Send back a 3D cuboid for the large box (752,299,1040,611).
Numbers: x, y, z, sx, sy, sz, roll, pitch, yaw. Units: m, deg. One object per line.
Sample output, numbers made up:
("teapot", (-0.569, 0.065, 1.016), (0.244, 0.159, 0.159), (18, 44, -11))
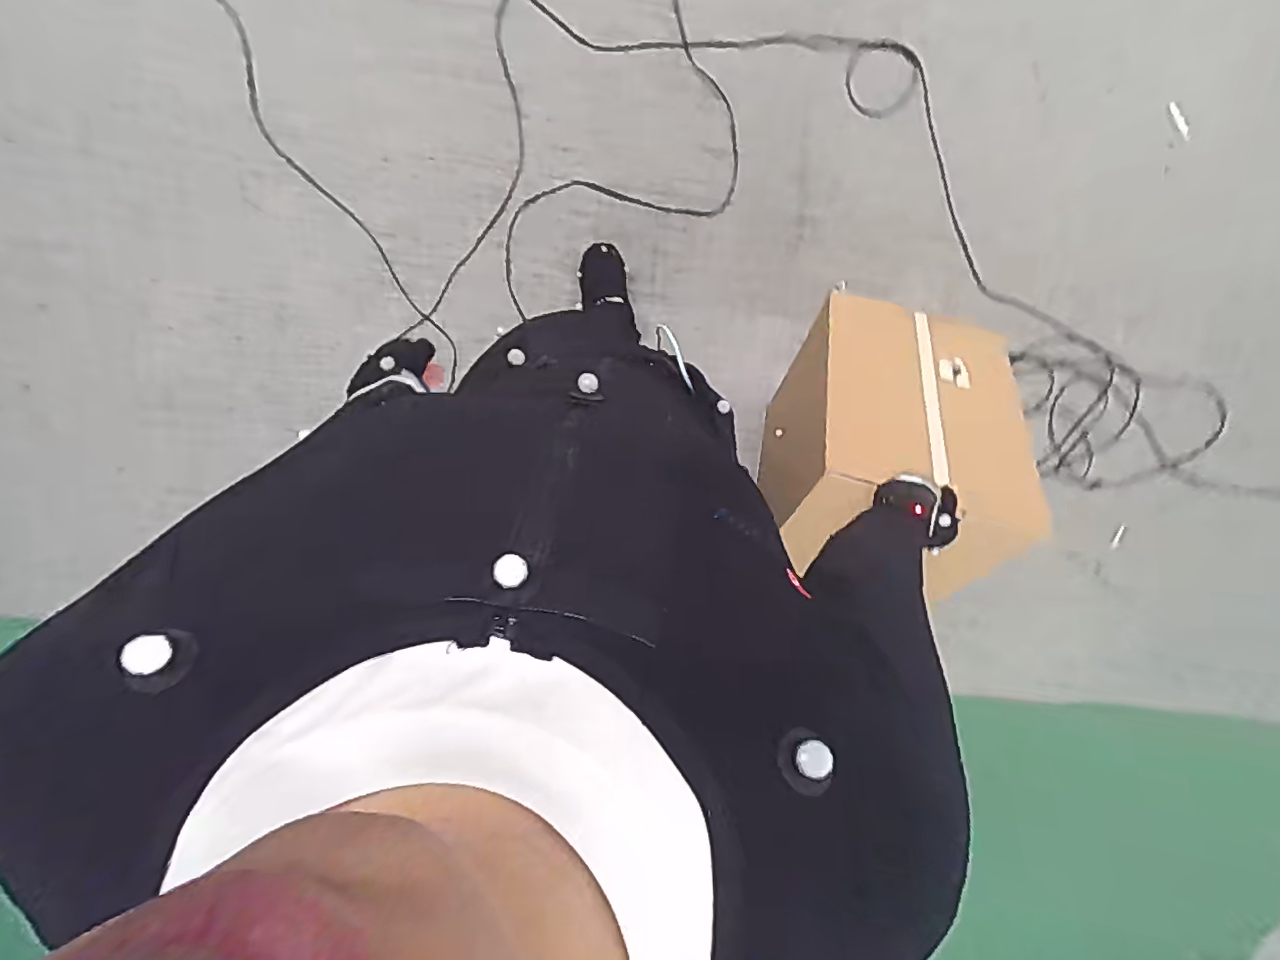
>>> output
("large box", (0.404, -0.038, 0.954), (0.320, 0.408, 0.320), (17, 143, -2))
